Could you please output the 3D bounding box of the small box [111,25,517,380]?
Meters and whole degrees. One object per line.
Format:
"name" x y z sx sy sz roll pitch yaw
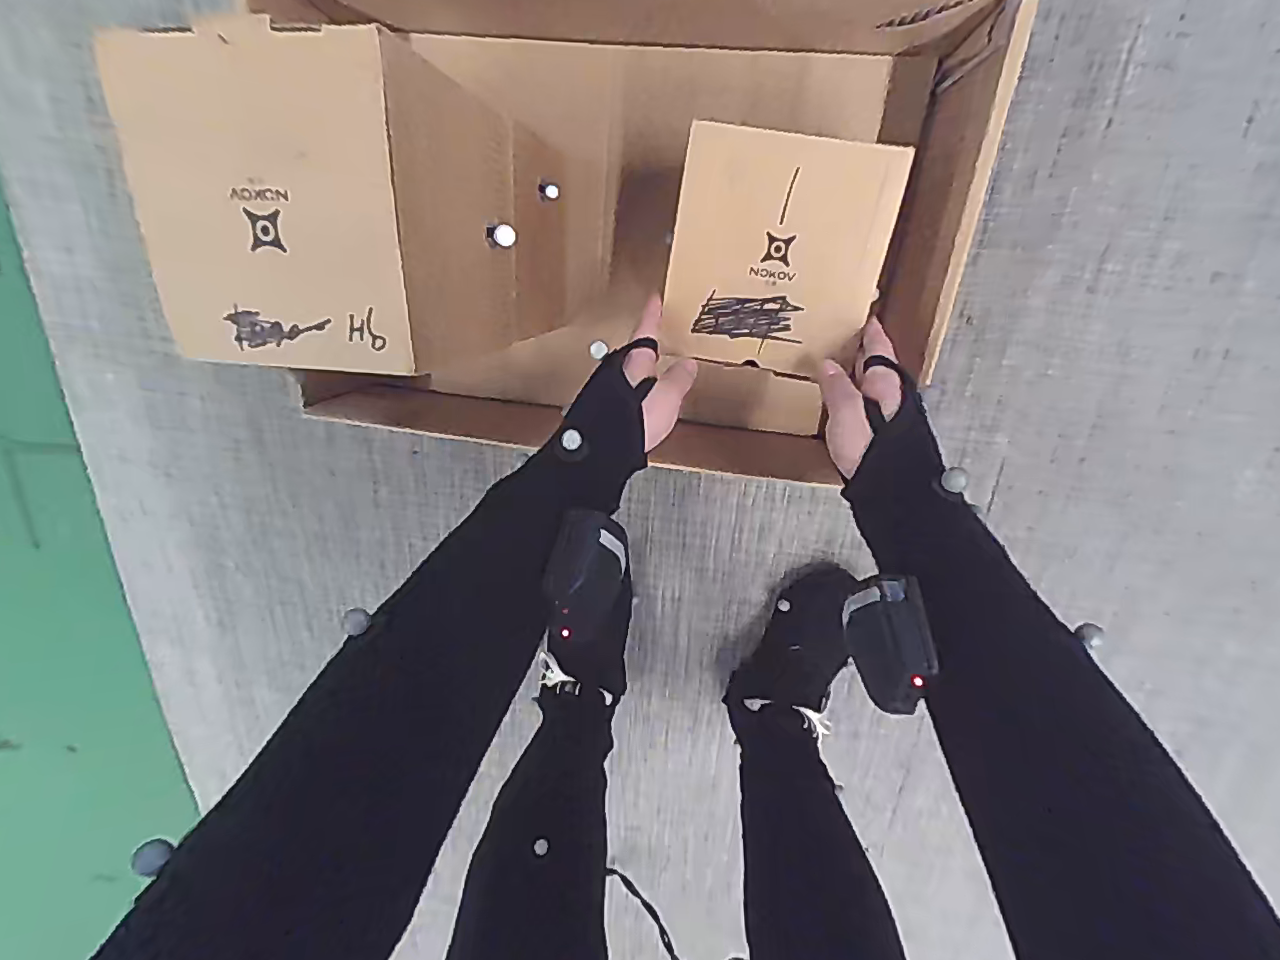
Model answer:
"small box" -0.193 -0.176 0.380 0.168 0.176 0.179 6 111 6
